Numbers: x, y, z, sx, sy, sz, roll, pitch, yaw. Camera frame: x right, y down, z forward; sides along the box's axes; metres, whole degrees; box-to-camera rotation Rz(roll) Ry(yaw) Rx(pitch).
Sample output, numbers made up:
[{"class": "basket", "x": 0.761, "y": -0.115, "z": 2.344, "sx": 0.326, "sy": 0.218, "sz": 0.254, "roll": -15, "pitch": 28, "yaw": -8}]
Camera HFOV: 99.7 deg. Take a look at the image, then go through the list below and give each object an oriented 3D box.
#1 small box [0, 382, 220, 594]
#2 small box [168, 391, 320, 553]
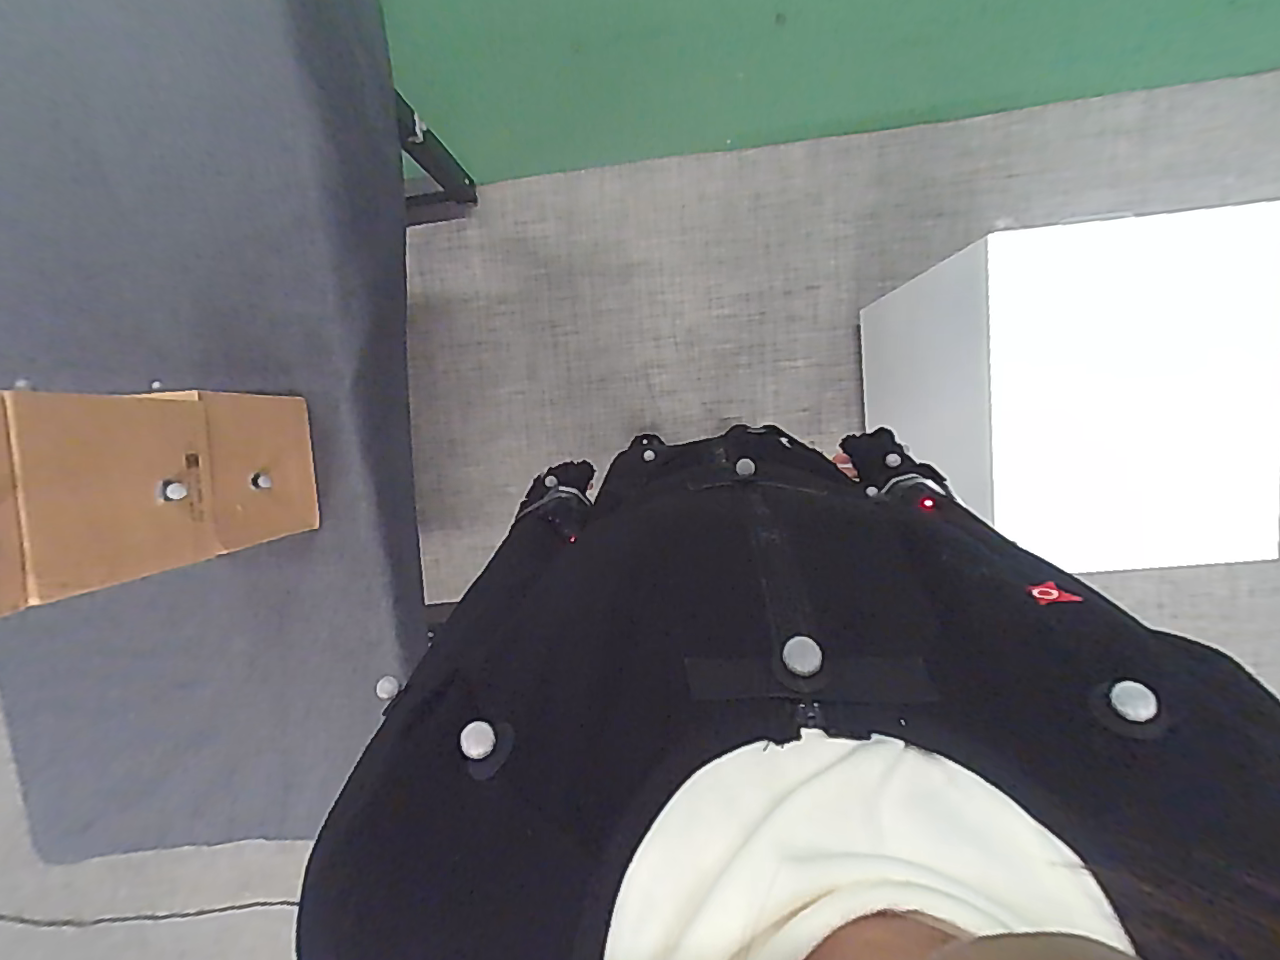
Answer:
[{"class": "small box", "x": -0.544, "y": 0.002, "z": 0.500, "sx": 0.179, "sy": 0.176, "sz": 0.168, "roll": -2, "pitch": 96, "yaw": 7}, {"class": "small box", "x": -0.525, "y": -0.016, "z": 0.663, "sx": 0.168, "sy": 0.176, "sz": 0.179, "roll": -3, "pitch": 97, "yaw": 5}]
